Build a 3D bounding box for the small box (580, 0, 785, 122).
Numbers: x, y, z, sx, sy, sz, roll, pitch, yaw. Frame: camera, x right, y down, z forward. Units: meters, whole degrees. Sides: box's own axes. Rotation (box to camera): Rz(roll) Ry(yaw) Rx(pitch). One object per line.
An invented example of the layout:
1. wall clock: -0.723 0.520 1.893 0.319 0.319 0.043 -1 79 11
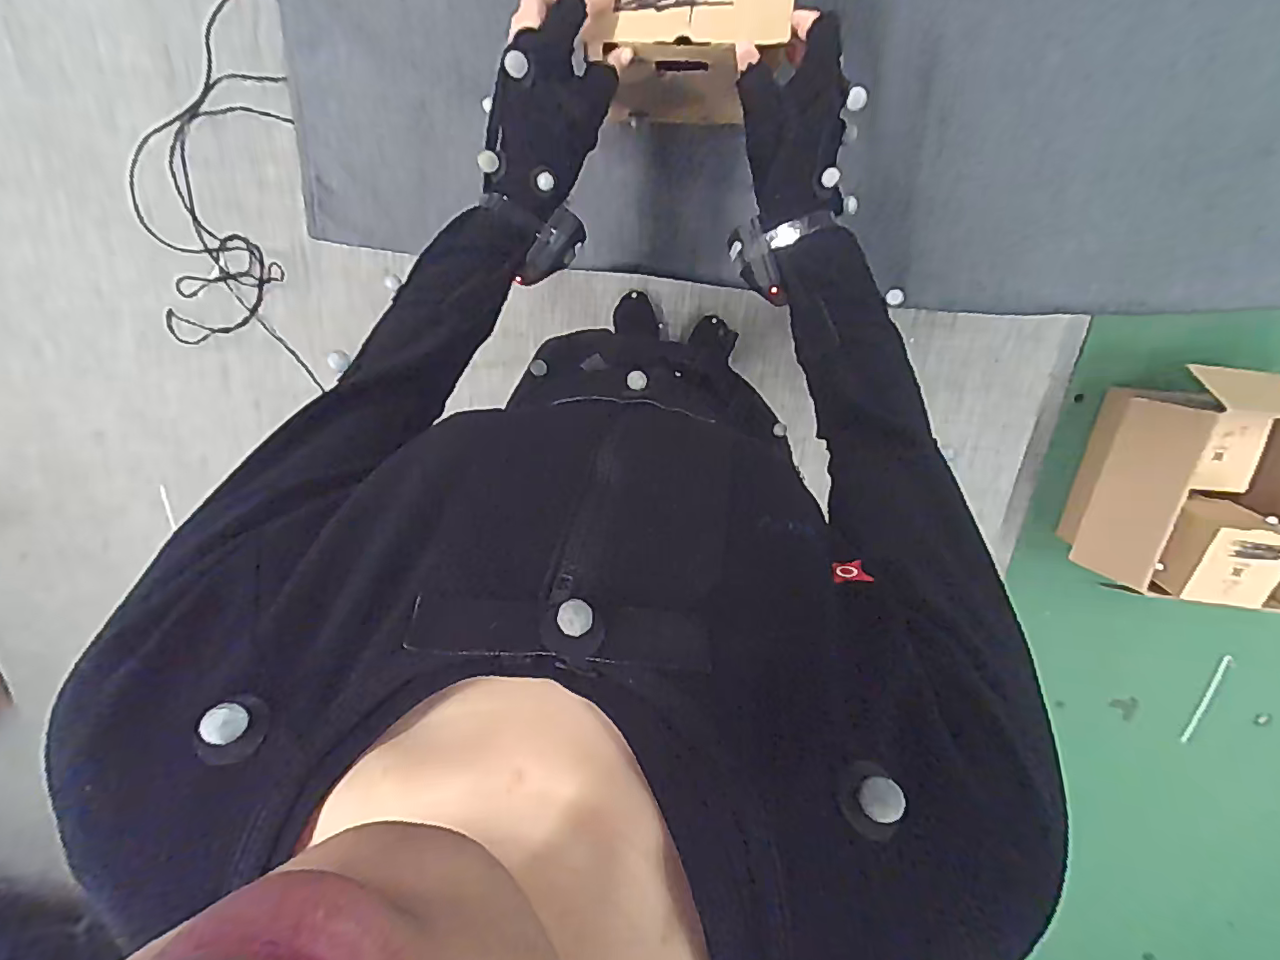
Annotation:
1. small box: 0.044 -0.446 0.489 0.168 0.176 0.179 4 109 4
